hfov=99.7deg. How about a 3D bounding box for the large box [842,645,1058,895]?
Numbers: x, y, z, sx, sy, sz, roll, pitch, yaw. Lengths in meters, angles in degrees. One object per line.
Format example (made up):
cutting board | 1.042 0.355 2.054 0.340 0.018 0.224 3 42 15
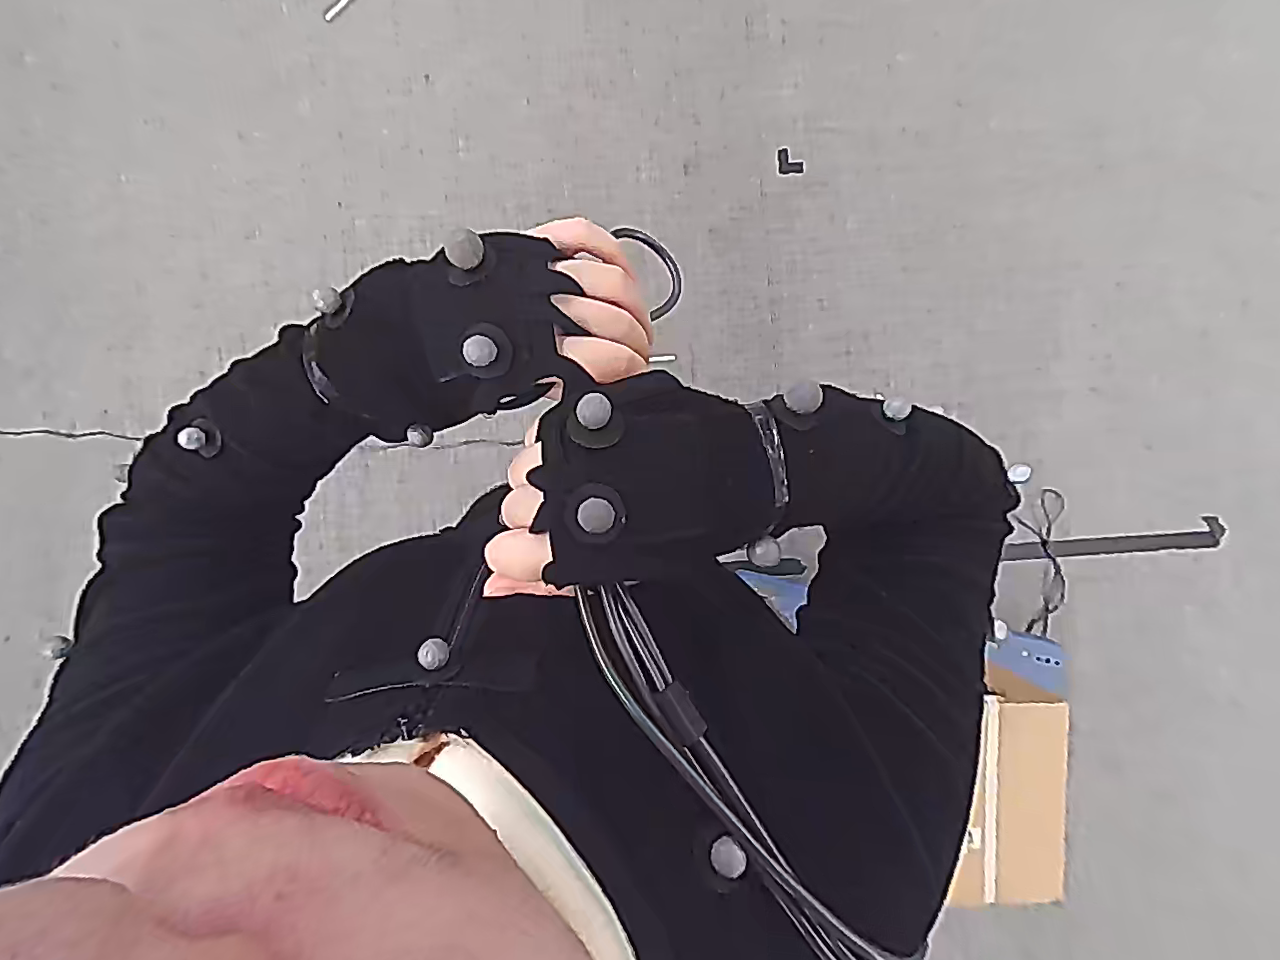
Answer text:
large box | 0.665 0.616 1.215 0.320 0.320 0.408 1 92 -1
